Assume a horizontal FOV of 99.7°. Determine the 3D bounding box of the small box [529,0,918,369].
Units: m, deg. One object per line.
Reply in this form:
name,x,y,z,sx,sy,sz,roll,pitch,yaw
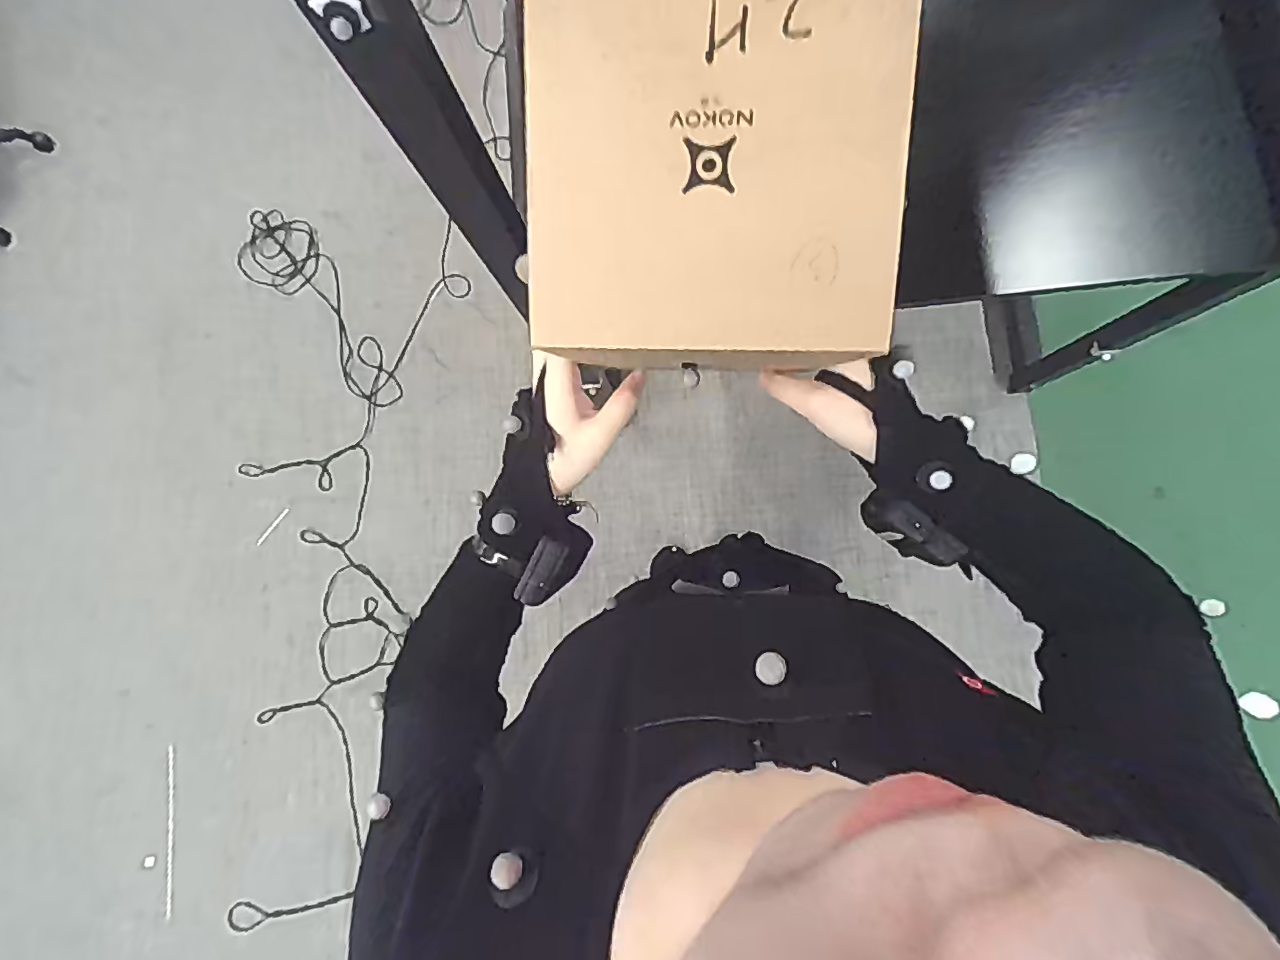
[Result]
small box,0.038,-0.158,0.318,0.168,0.176,0.179,2,99,4
